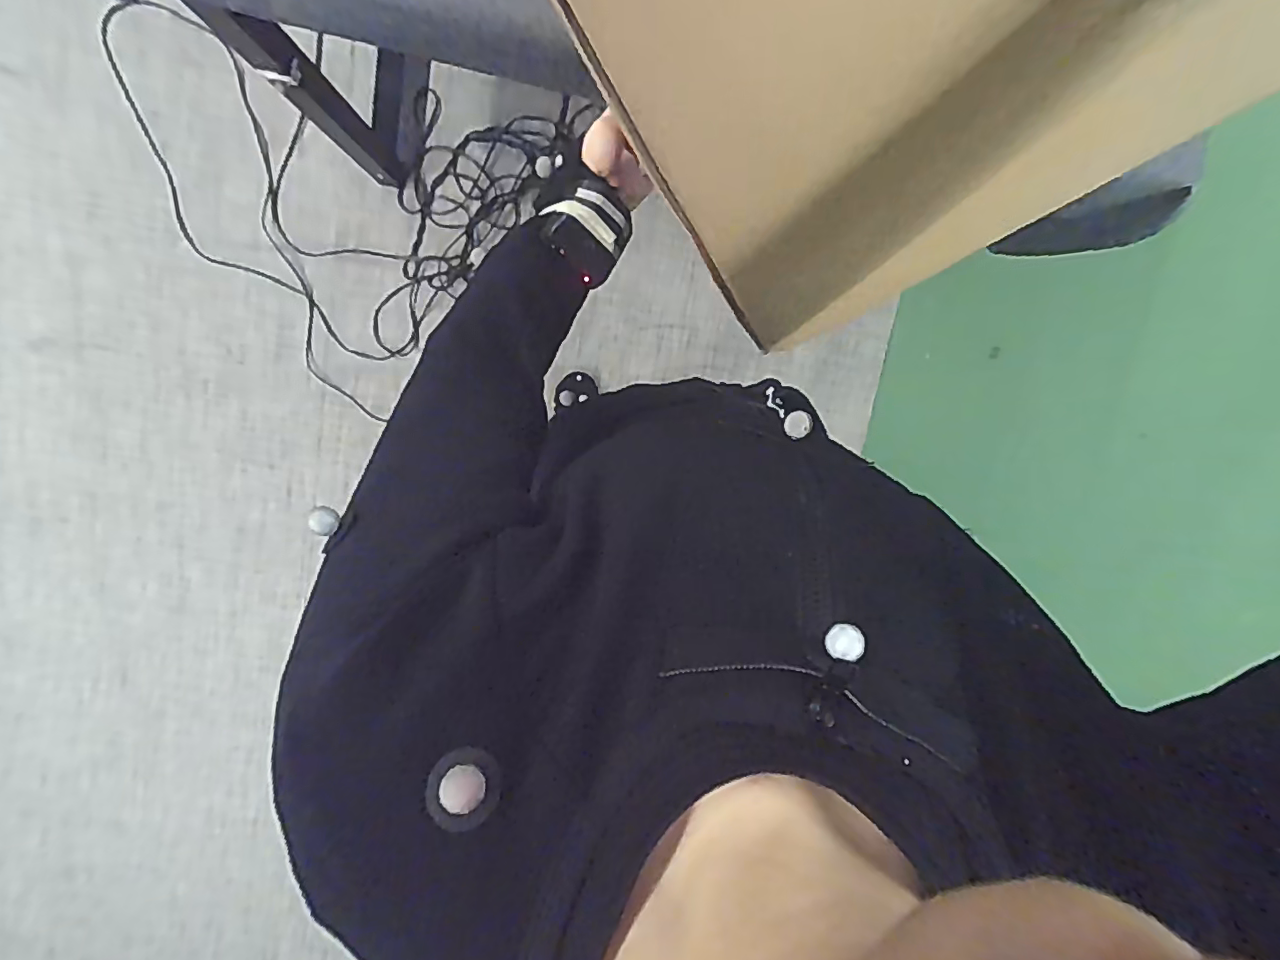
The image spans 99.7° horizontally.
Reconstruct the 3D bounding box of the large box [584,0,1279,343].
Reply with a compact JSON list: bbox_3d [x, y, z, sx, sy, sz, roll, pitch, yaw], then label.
[{"bbox_3d":[0.158,-0.342,0.261,0.408,0.320,0.320,-29,68,20],"label":"large box"}]
